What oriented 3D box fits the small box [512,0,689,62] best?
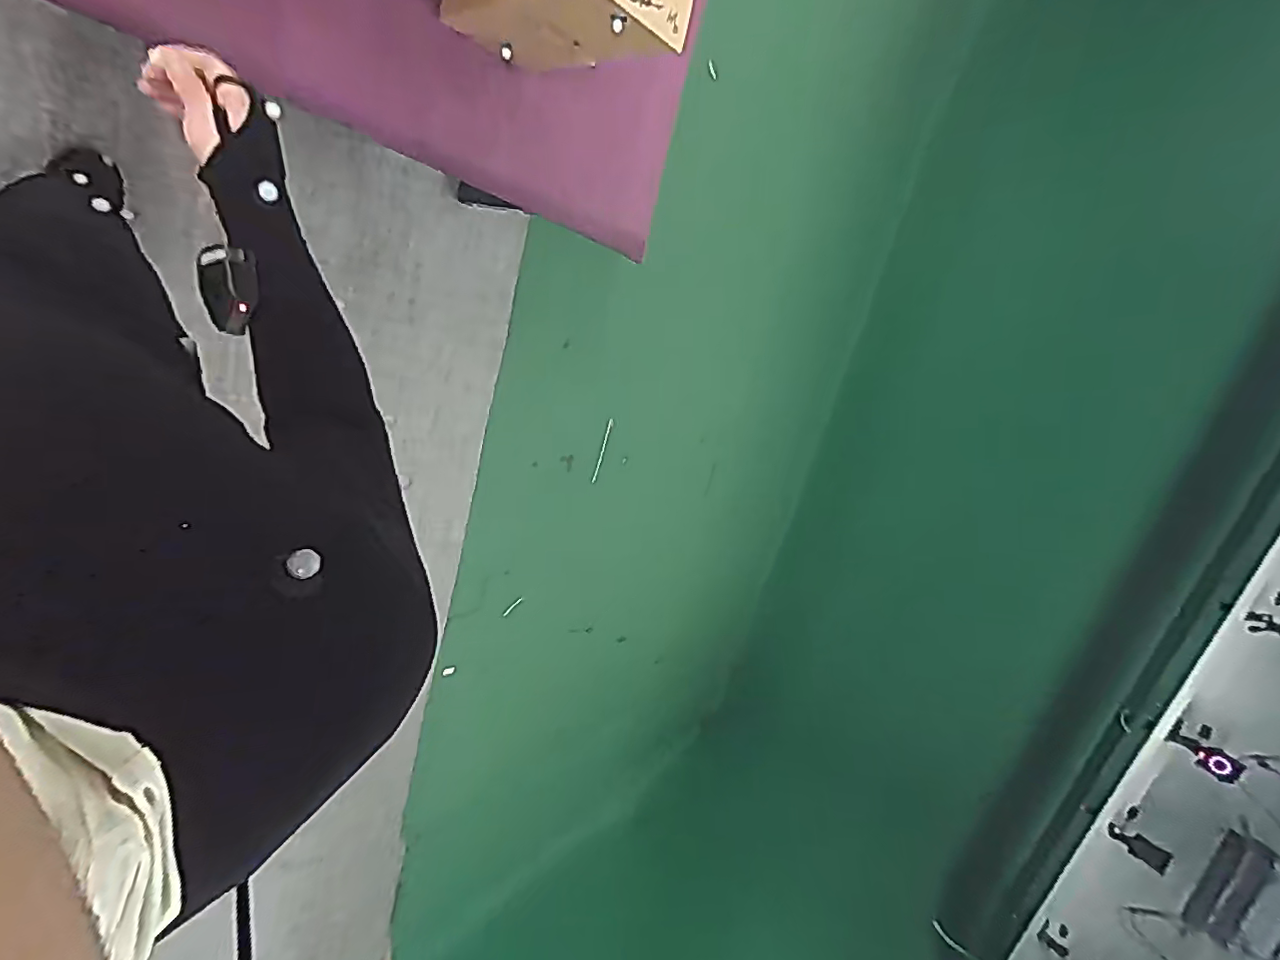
[{"bbox_3d":[-0.044,-0.662,0.672,0.168,0.176,0.179,-9,118,-48],"label":"small box"}]

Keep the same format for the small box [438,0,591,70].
[{"bbox_3d":[-0.165,-0.721,0.766,0.168,0.176,0.179,-9,118,-49],"label":"small box"}]
